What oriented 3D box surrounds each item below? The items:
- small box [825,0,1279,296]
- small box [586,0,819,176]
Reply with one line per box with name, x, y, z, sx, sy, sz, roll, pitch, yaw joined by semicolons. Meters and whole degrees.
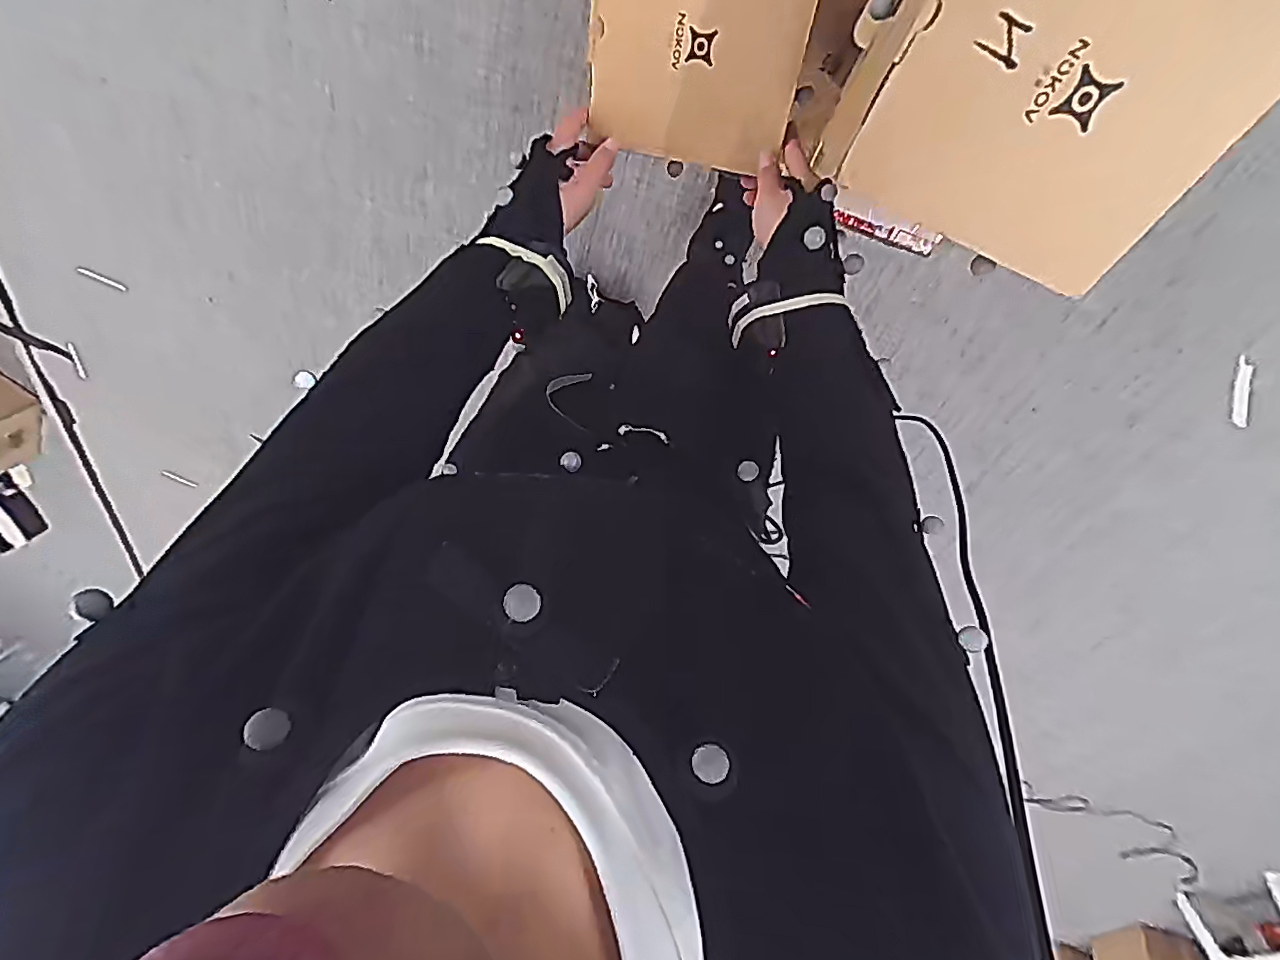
small box;0.236;-0.250;0.334;0.179;0.176;0.168;24;131;-4
small box;0.061;-0.393;0.491;0.179;0.176;0.168;13;129;7
